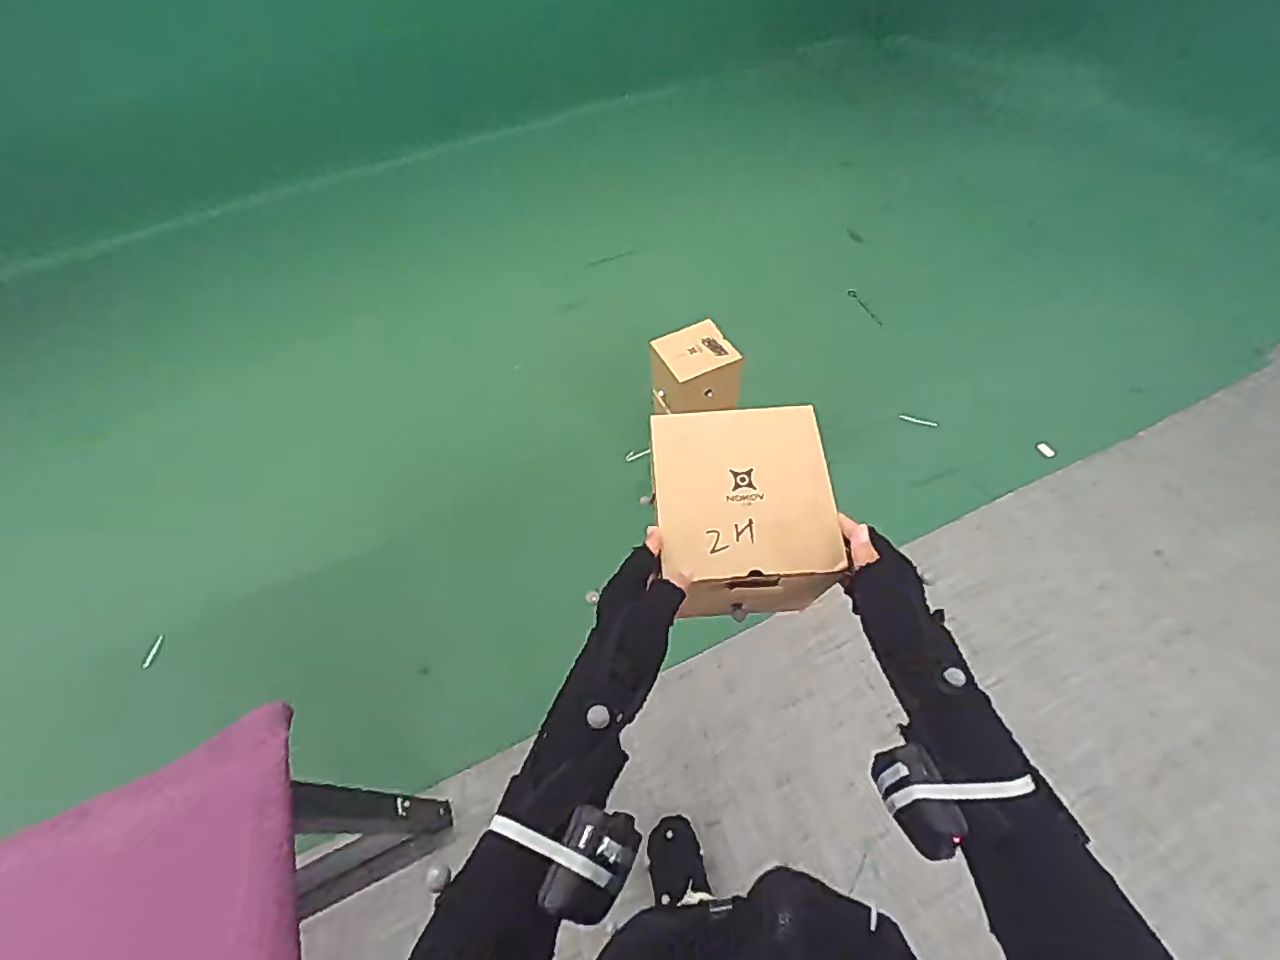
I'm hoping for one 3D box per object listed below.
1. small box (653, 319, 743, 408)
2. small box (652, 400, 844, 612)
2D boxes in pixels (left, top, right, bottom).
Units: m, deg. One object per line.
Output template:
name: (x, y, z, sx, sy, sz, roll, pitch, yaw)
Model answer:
small box: (0.145, -0.281, 1.402, 0.179, 0.176, 0.168, -21, 55, -10)
small box: (0.098, 0.035, 0.582, 0.168, 0.176, 0.179, -4, 66, 1)
